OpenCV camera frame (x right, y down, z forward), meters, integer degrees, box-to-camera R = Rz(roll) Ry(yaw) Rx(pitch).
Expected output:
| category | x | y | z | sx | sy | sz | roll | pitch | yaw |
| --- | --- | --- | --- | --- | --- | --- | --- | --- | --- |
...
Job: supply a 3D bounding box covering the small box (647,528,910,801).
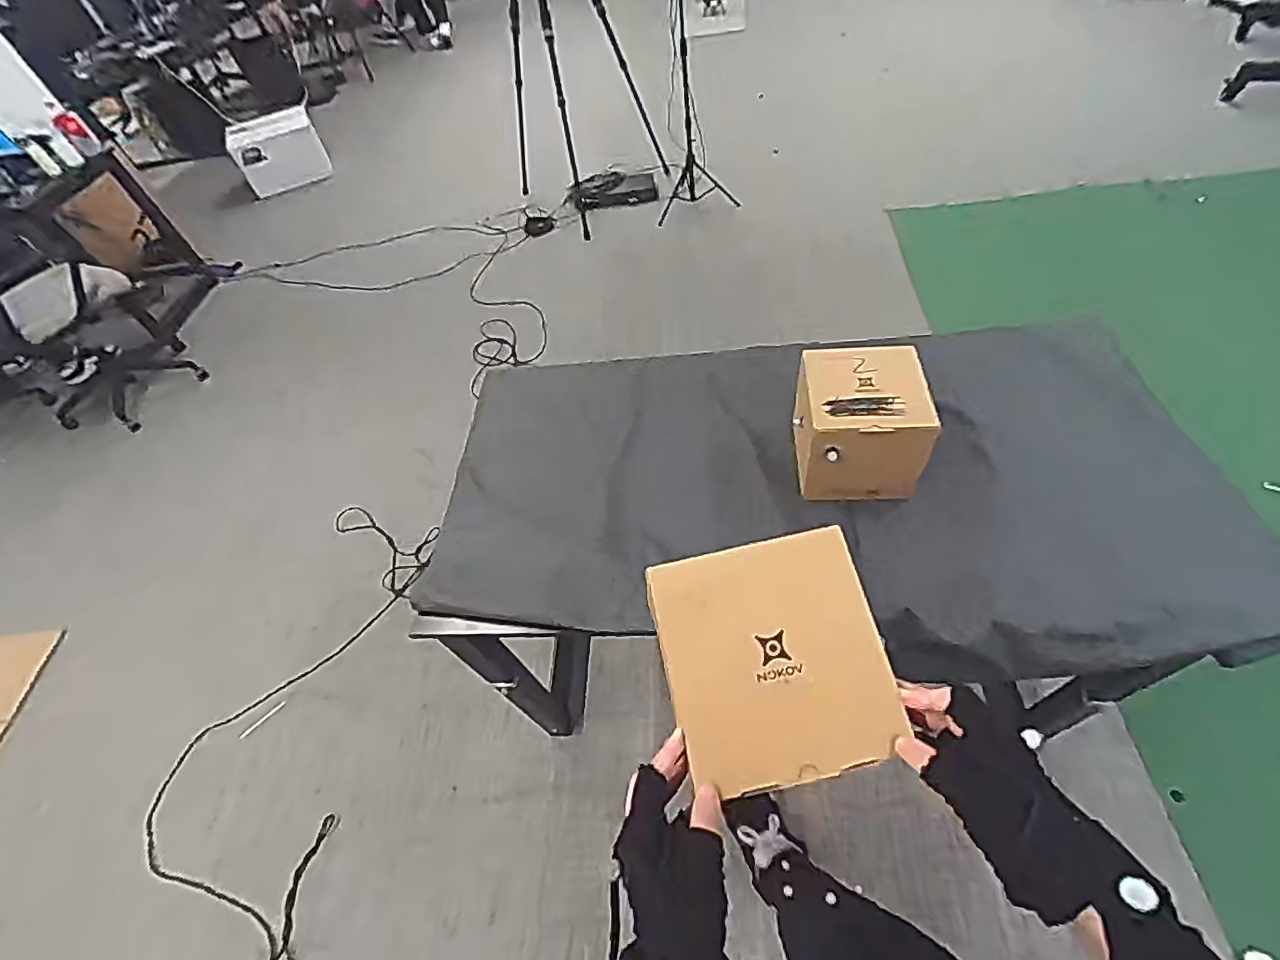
| category | x | y | z | sx | sy | sz | roll | pitch | yaw |
| --- | --- | --- | --- | --- | --- | --- | --- | --- | --- |
| small box | 0.101 | 0.161 | 0.489 | 0.168 | 0.176 | 0.179 | -12 | 70 | -2 |
